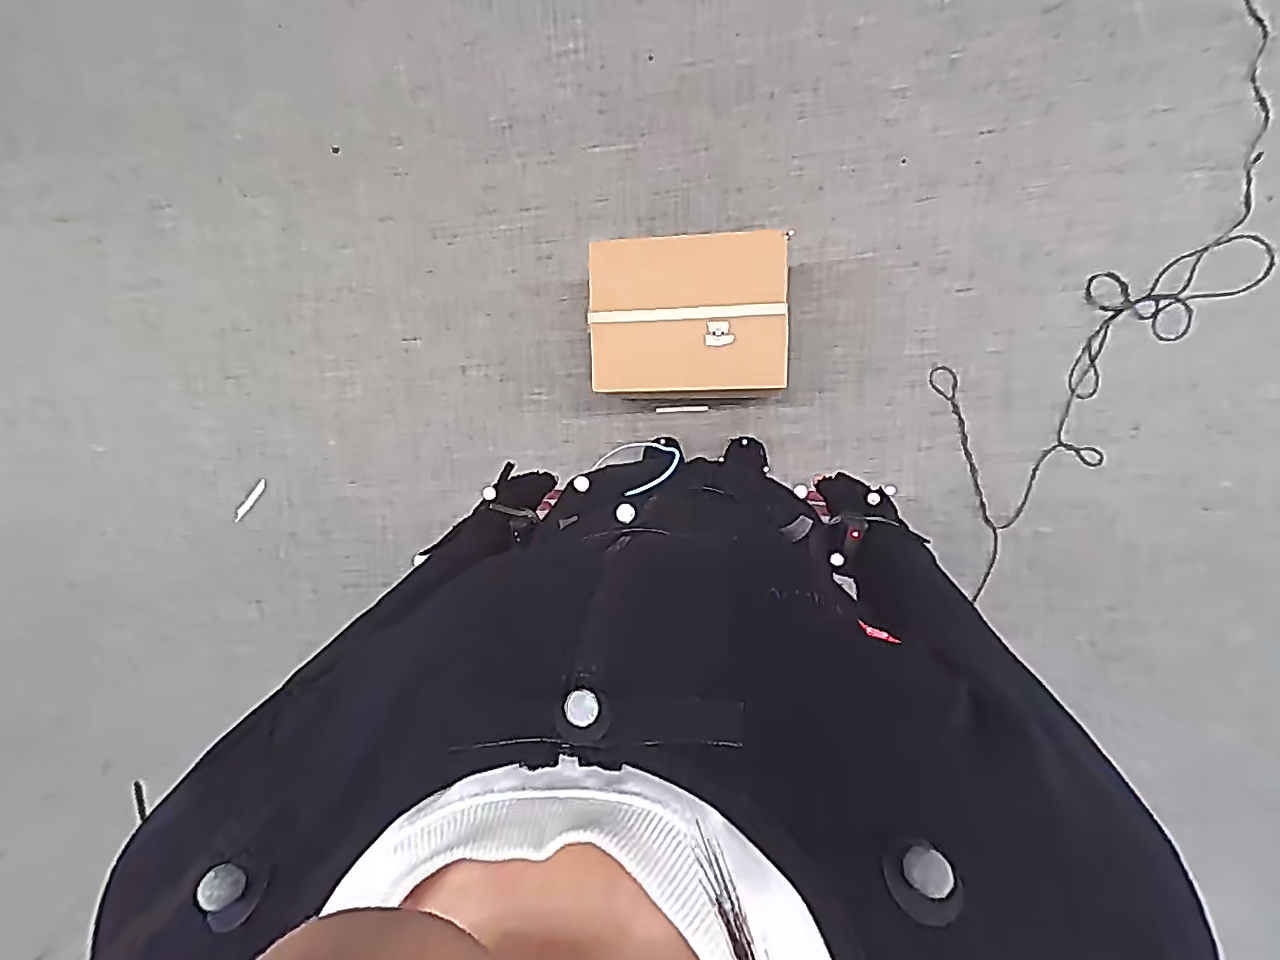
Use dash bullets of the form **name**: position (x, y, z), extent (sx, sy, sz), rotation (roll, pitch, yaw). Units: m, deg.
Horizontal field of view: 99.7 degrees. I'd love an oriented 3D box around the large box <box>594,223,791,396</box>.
- **large box**: position (0.123, -0.366, 1.254), extent (0.408, 0.320, 0.320), rotation (0, 96, 7)
